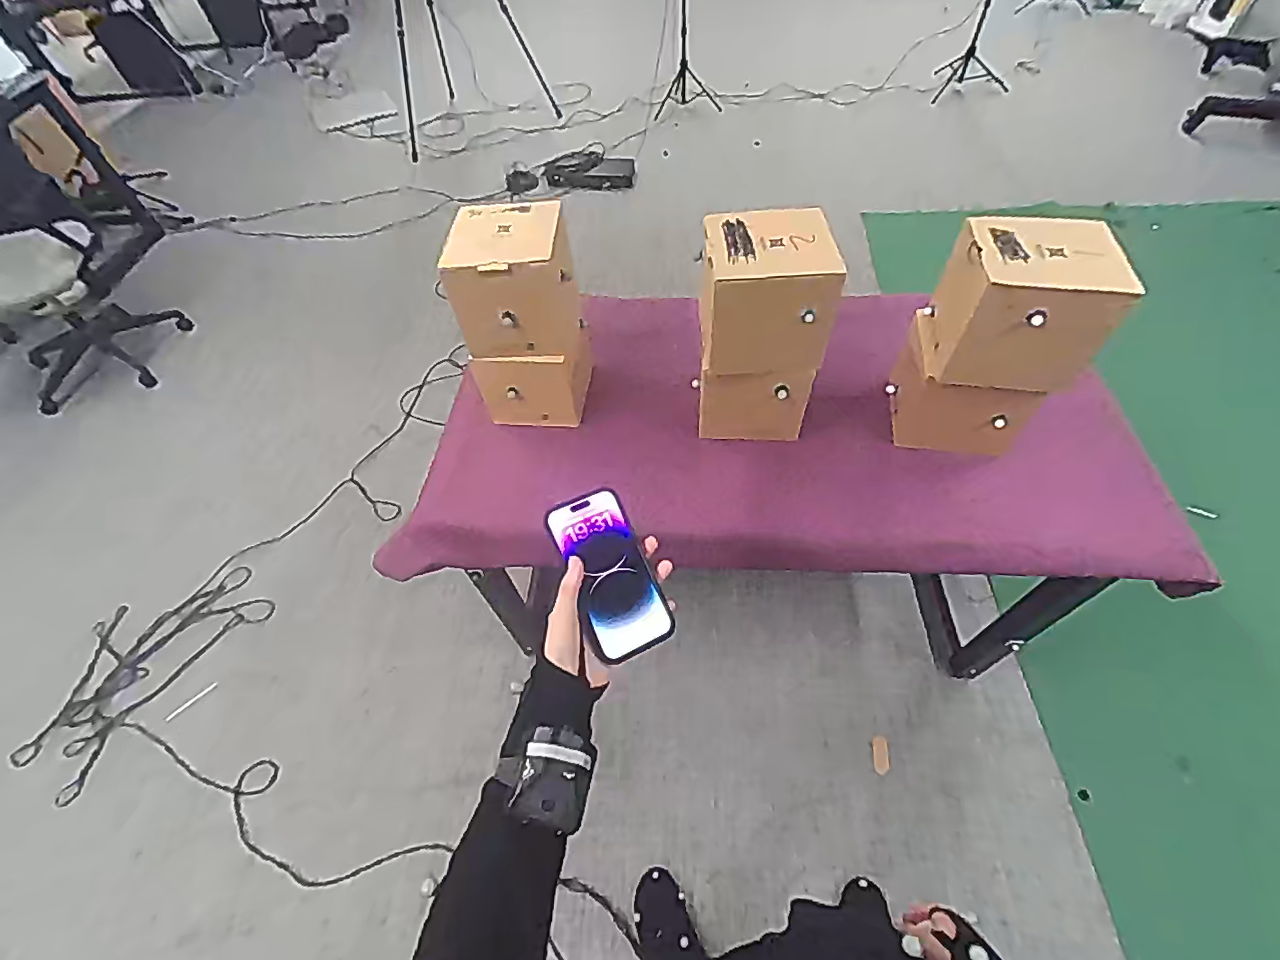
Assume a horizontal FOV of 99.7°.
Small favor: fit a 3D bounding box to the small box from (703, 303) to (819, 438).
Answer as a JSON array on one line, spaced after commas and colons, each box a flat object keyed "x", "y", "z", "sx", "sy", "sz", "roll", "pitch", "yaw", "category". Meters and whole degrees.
[{"x": 0.201, "y": -0.186, "z": 0.943, "sx": 0.179, "sy": 0.176, "sz": 0.168, "roll": 1, "pitch": 54, "yaw": 7, "category": "small box"}]

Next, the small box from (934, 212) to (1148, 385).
[{"x": 0.532, "y": -0.250, "z": 0.756, "sx": 0.179, "sy": 0.176, "sz": 0.168, "roll": 7, "pitch": 54, "yaw": 10, "category": "small box"}]

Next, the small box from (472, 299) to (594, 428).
[{"x": -0.185, "y": -0.212, "z": 1.001, "sx": 0.168, "sy": 0.176, "sz": 0.179, "roll": 2, "pitch": 54, "yaw": 7, "category": "small box"}]

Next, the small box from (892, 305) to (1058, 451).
[{"x": 0.538, "y": -0.165, "z": 0.896, "sx": 0.179, "sy": 0.176, "sz": 0.168, "roll": 7, "pitch": 54, "yaw": 11, "category": "small box"}]

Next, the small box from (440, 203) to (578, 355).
[{"x": -0.197, "y": -0.317, "z": 0.874, "sx": 0.168, "sy": 0.176, "sz": 0.179, "roll": -2, "pitch": 54, "yaw": 3, "category": "small box"}]
